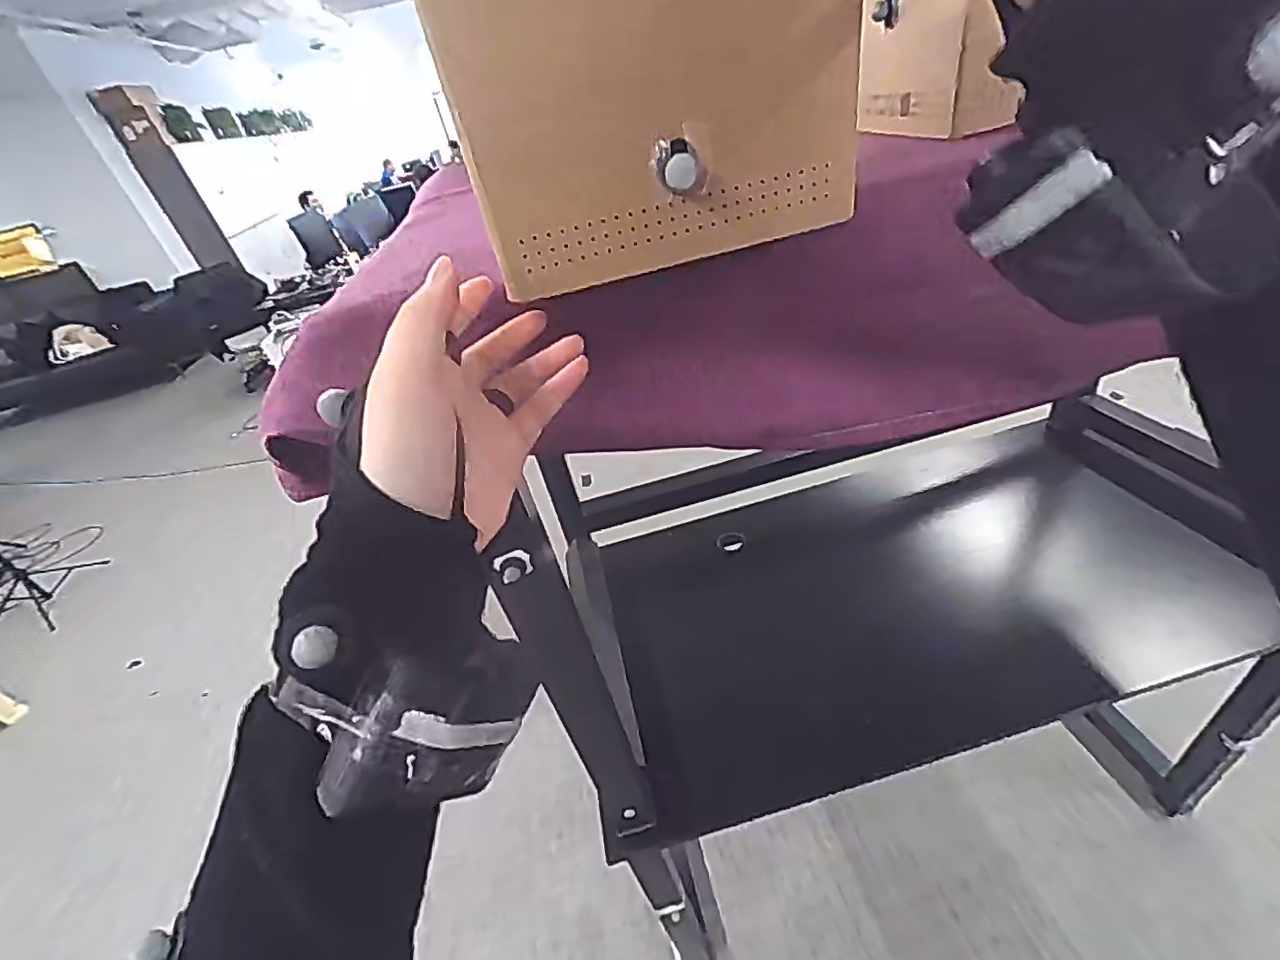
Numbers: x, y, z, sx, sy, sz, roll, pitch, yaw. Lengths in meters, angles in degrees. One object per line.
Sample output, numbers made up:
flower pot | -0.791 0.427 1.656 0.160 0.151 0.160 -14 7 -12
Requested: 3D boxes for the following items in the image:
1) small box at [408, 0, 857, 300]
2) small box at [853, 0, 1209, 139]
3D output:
small box | -0.009 -0.210 0.272 0.179 0.176 0.168 -16 36 -5
small box | 0.264 -0.356 0.380 0.179 0.176 0.168 -14 36 0
